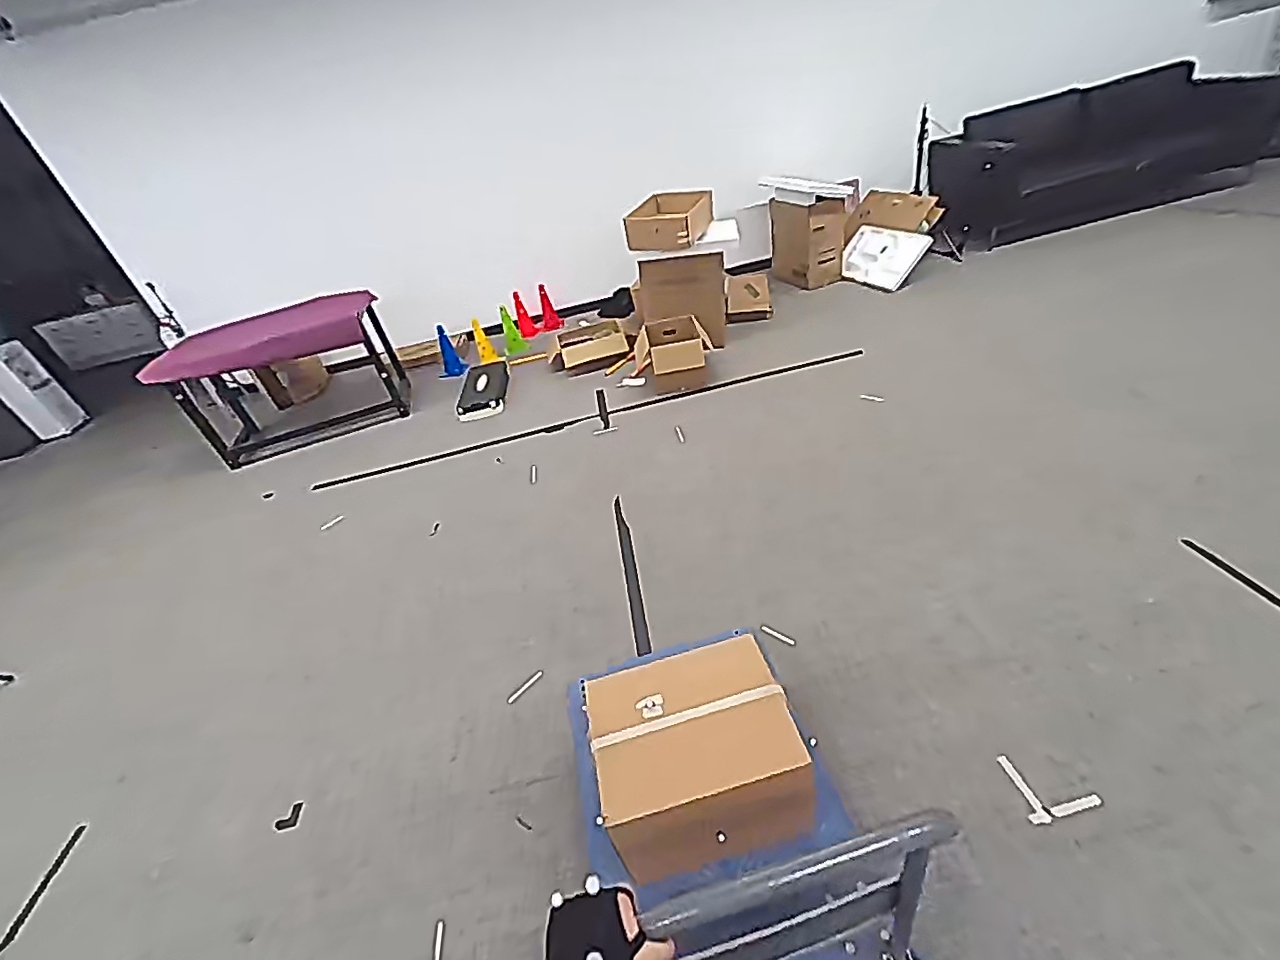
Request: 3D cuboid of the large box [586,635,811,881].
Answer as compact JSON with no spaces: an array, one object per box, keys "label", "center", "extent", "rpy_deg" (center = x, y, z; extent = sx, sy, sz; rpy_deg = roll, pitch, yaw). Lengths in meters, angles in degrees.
[{"label":"large box","center":[0.129,0.619,1.216],"extent":[0.408,0.320,0.320],"rpy_deg":[-17,35,-3]}]
